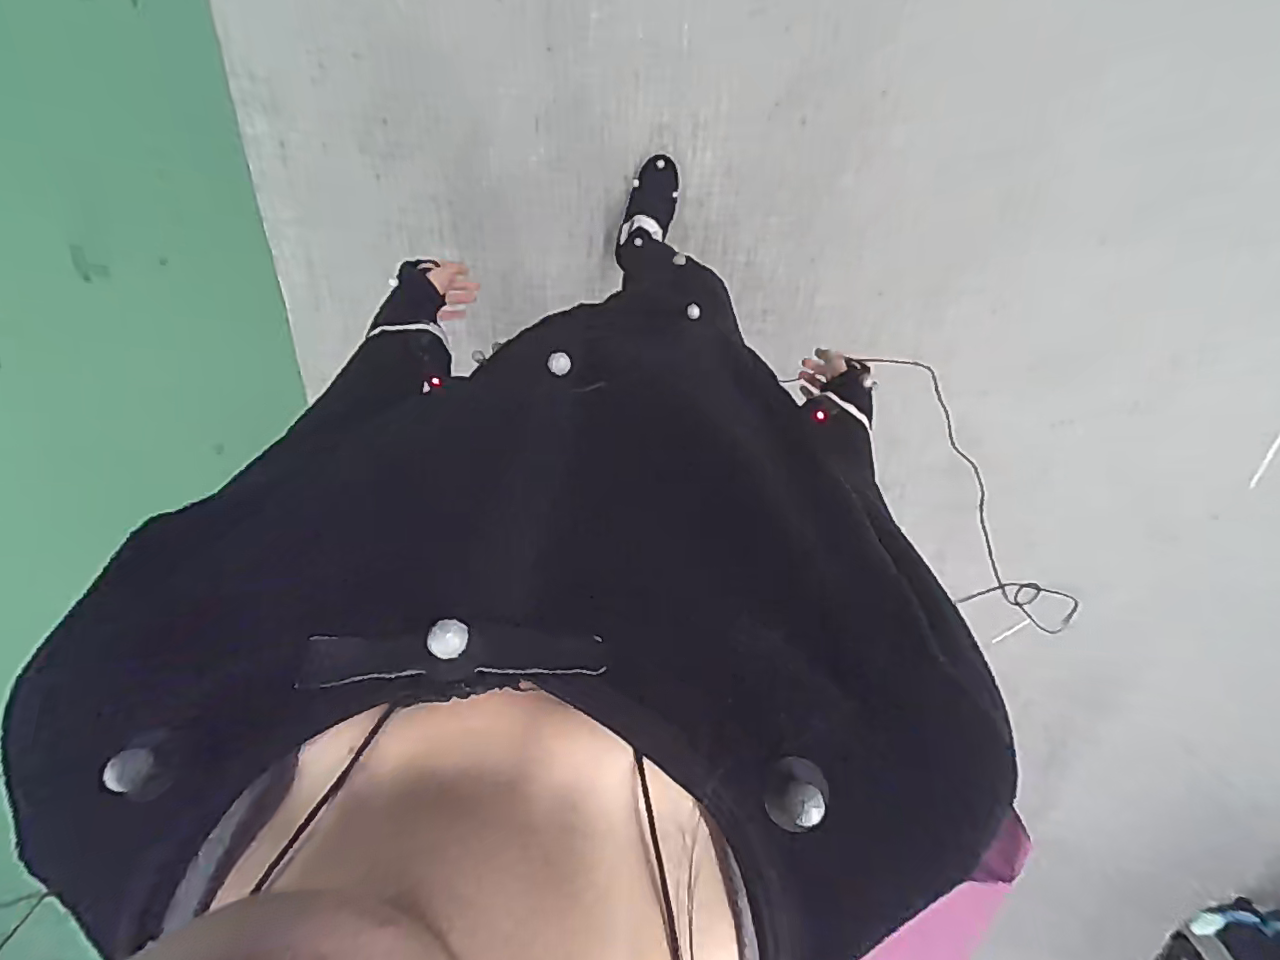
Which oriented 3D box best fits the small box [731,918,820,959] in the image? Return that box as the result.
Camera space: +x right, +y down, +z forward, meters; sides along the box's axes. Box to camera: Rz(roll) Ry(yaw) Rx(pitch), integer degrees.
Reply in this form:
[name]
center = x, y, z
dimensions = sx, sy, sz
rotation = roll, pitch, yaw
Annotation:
[small box]
center = 0.313, 1.141, 1.237
dimensions = 0.179, 0.176, 0.168
rotation = 3, 116, -3
